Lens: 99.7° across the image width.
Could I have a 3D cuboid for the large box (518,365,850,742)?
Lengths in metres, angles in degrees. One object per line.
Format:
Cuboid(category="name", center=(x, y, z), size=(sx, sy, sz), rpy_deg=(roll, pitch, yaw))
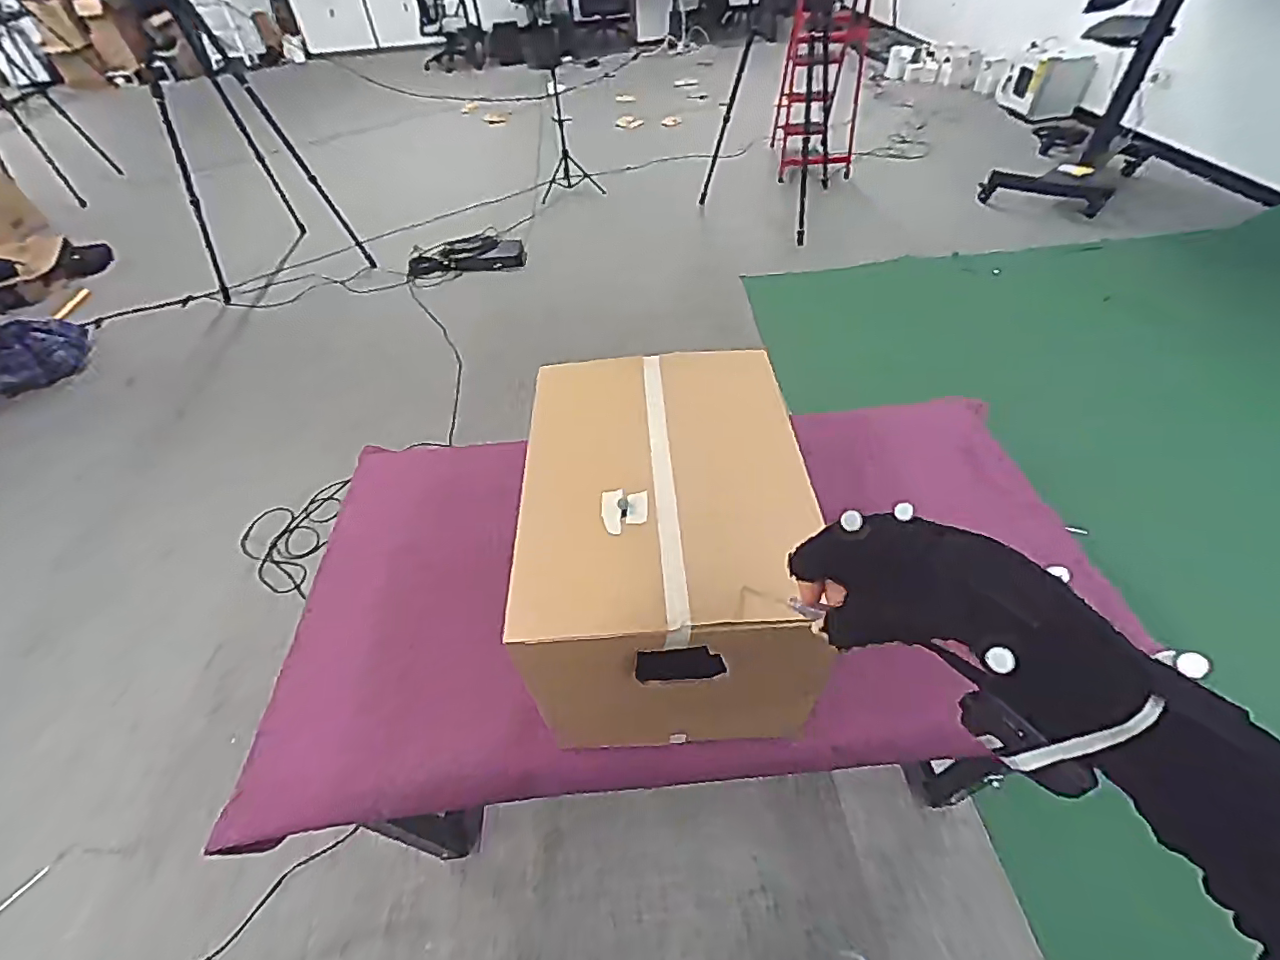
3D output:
Cuboid(category="large box", center=(0.034, 0.092, 0.733), size=(0.320, 0.320, 0.408), rpy_deg=(-4, 49, 1))
